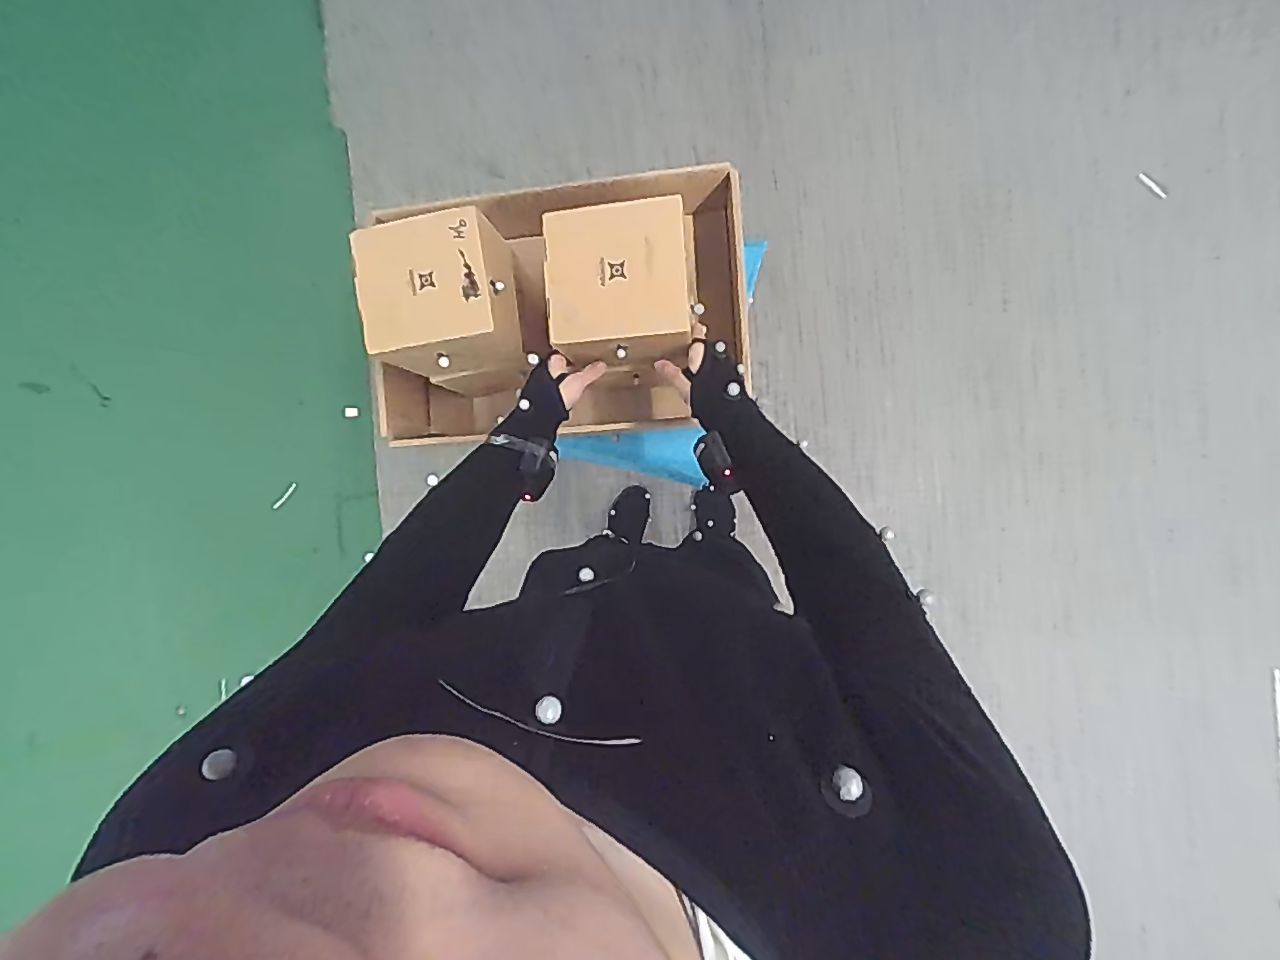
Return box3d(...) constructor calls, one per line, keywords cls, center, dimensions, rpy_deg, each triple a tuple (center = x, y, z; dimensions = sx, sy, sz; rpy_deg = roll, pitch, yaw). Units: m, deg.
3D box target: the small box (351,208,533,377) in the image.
box3d(cls="small box", center=(-0.271, -0.252, 0.771), dimensions=(0.179, 0.176, 0.168), rpy_deg=(-9, 90, 7))
